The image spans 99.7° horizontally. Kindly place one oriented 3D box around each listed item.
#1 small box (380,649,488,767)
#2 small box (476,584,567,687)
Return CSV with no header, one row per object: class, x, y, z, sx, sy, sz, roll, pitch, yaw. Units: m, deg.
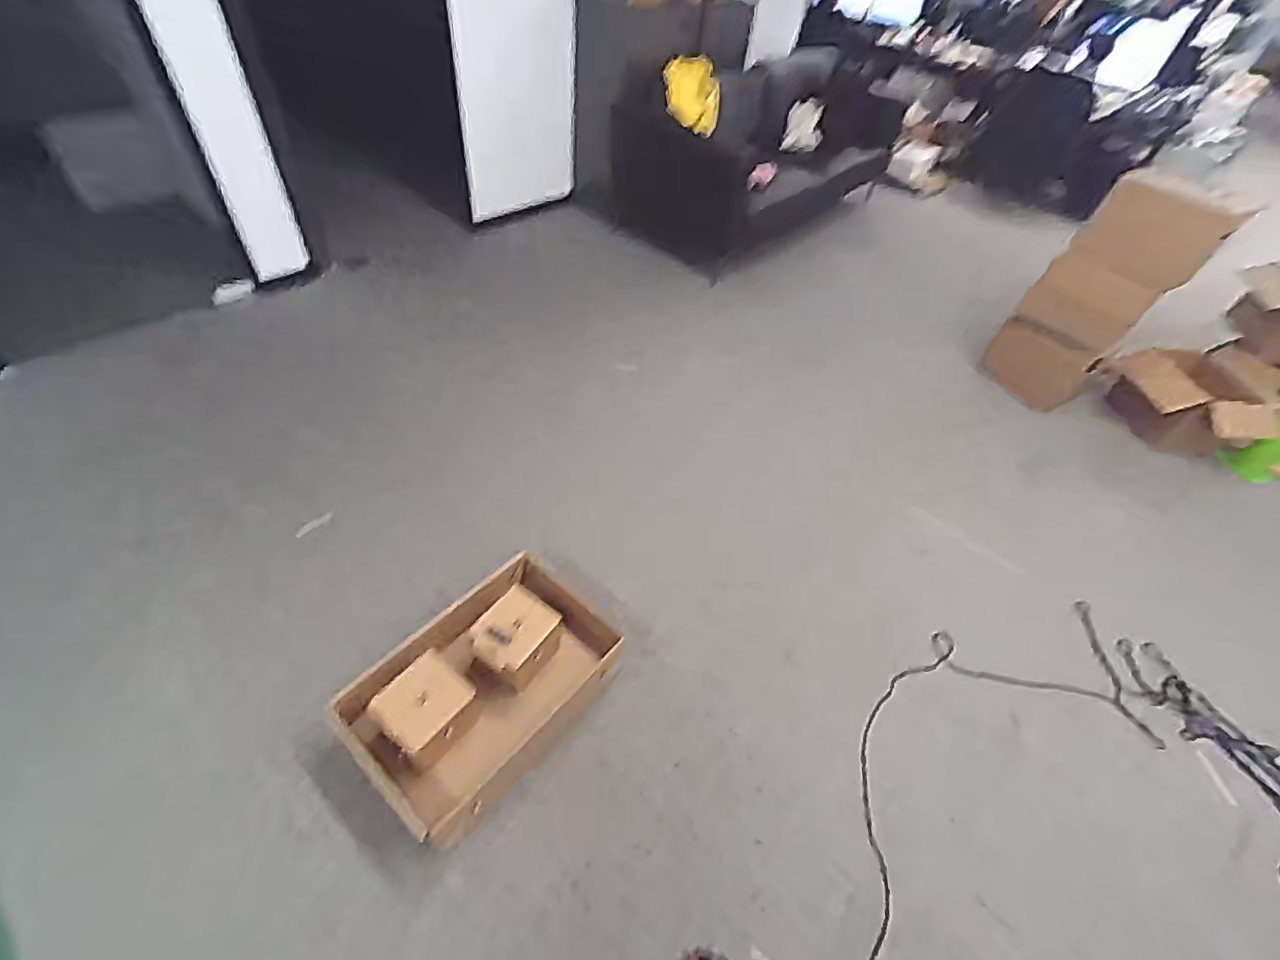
small box,-0.488,0.556,1.309,0.168,0.176,0.179,34,52,19
small box,-0.309,0.421,1.451,0.168,0.176,0.179,30,52,18
